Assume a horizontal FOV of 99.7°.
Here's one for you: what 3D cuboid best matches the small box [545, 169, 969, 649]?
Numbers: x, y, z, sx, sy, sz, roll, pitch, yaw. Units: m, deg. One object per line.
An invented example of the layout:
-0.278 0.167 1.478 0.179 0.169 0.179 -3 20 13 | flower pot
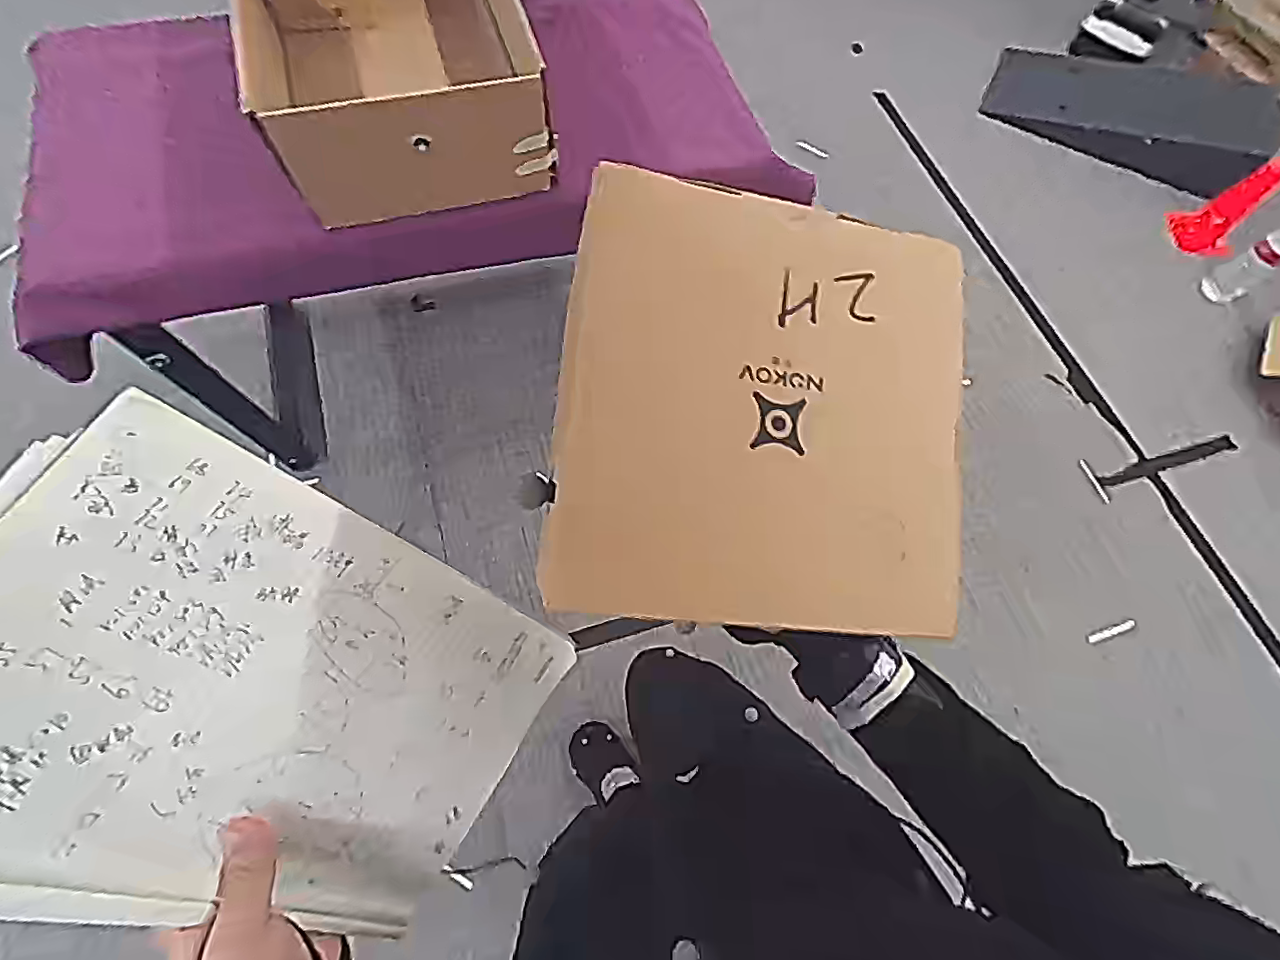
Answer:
0.040 -0.018 0.291 0.168 0.176 0.179 7 81 -11 | small box
